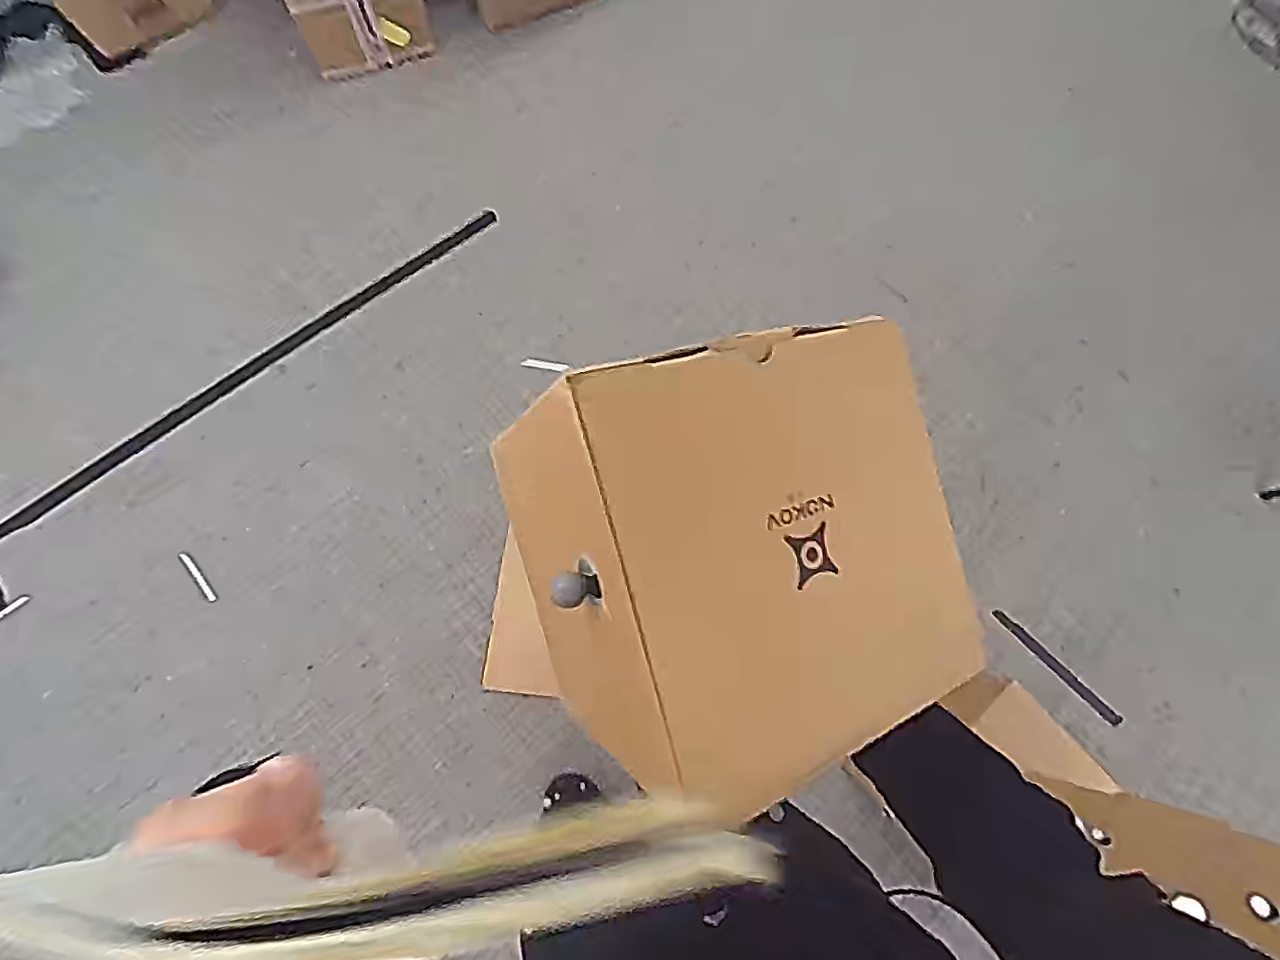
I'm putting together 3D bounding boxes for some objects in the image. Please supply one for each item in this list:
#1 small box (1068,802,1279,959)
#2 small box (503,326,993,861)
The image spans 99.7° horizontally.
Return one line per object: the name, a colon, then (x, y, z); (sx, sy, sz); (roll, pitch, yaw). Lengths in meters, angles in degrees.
small box: (0.715, 0.564, 0.700); (0.179, 0.176, 0.168); (-38, 77, -11)
small box: (0.037, 0.040, 0.291); (0.168, 0.176, 0.179); (-16, 89, -24)
